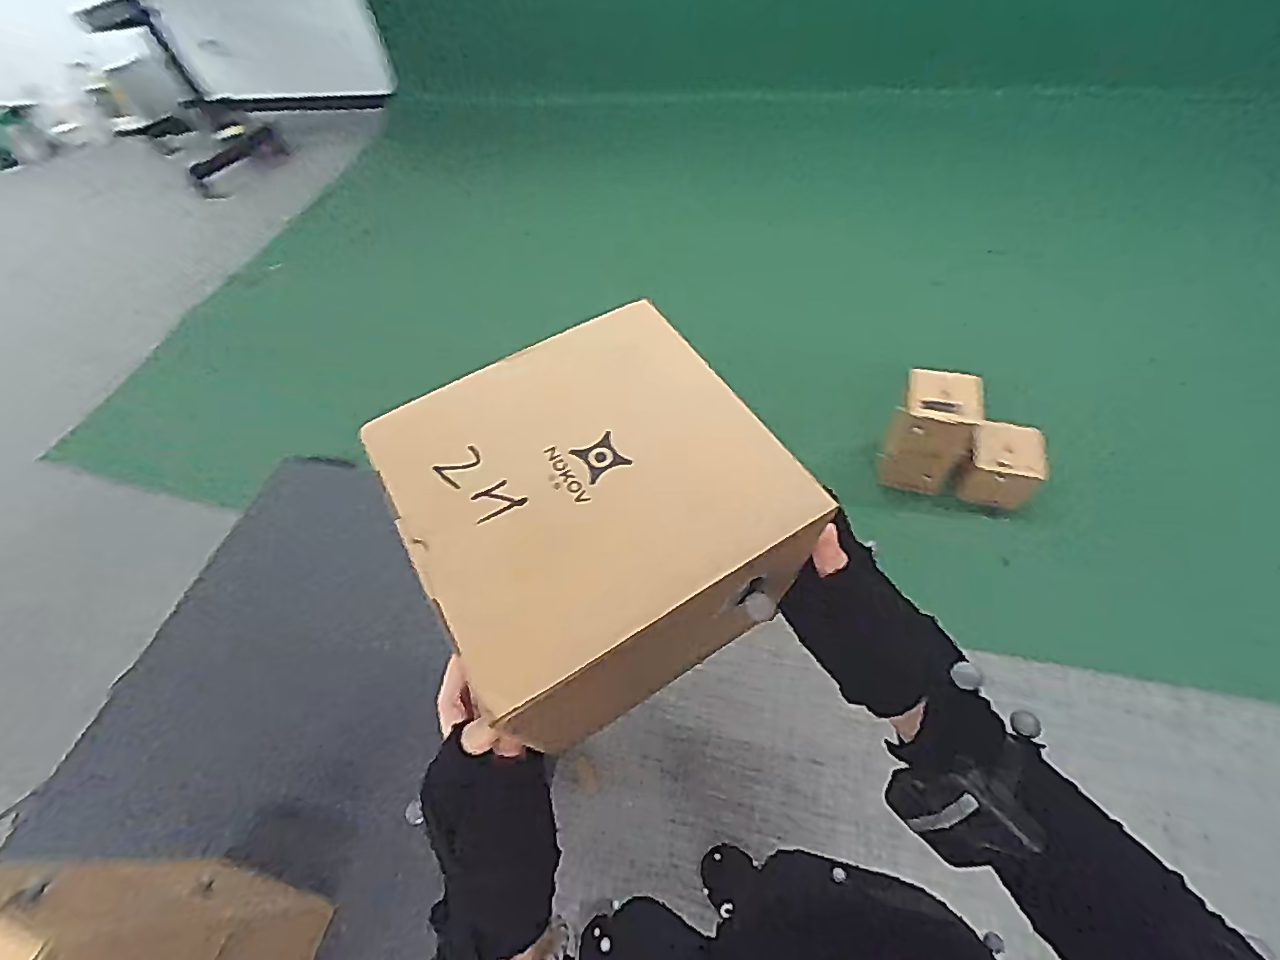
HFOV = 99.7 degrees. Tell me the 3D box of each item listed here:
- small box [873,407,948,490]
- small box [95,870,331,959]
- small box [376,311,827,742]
[{"bbox_3d":[0.811,-0.092,1.631,0.168,0.176,0.179,12,59,15],"label":"small box"},{"bbox_3d":[-0.452,0.500,0.529,0.179,0.176,0.168,6,57,13],"label":"small box"},{"bbox_3d":[-0.023,0.037,0.337,0.179,0.176,0.168,-29,62,-13],"label":"small box"}]
